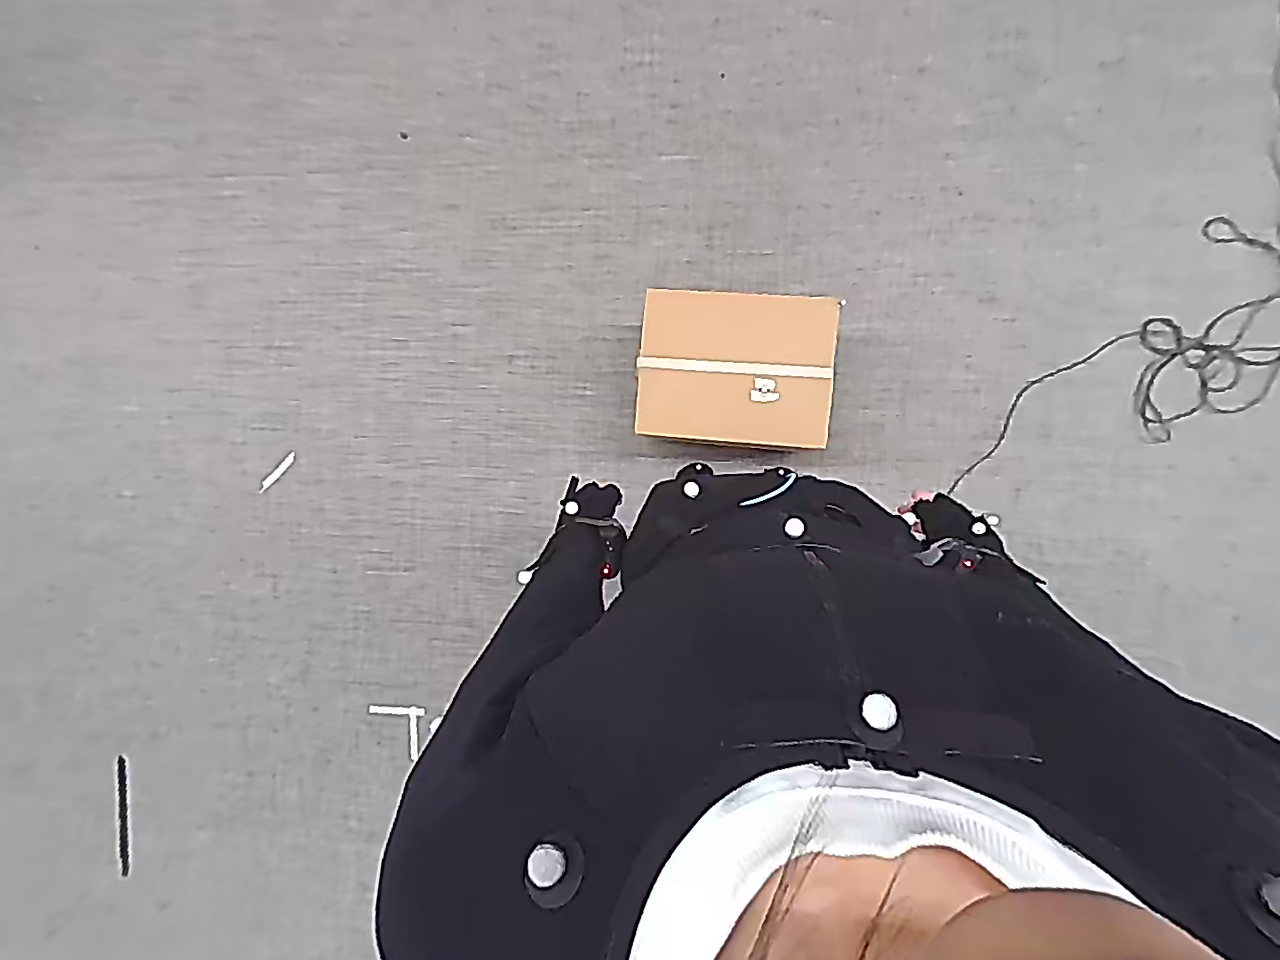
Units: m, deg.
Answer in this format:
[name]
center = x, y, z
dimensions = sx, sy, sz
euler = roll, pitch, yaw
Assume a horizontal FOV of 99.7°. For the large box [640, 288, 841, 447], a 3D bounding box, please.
[large box]
center = 0.223, -0.248, 1.288
dimensions = 0.408, 0.320, 0.320
euler = 5, 93, 7
